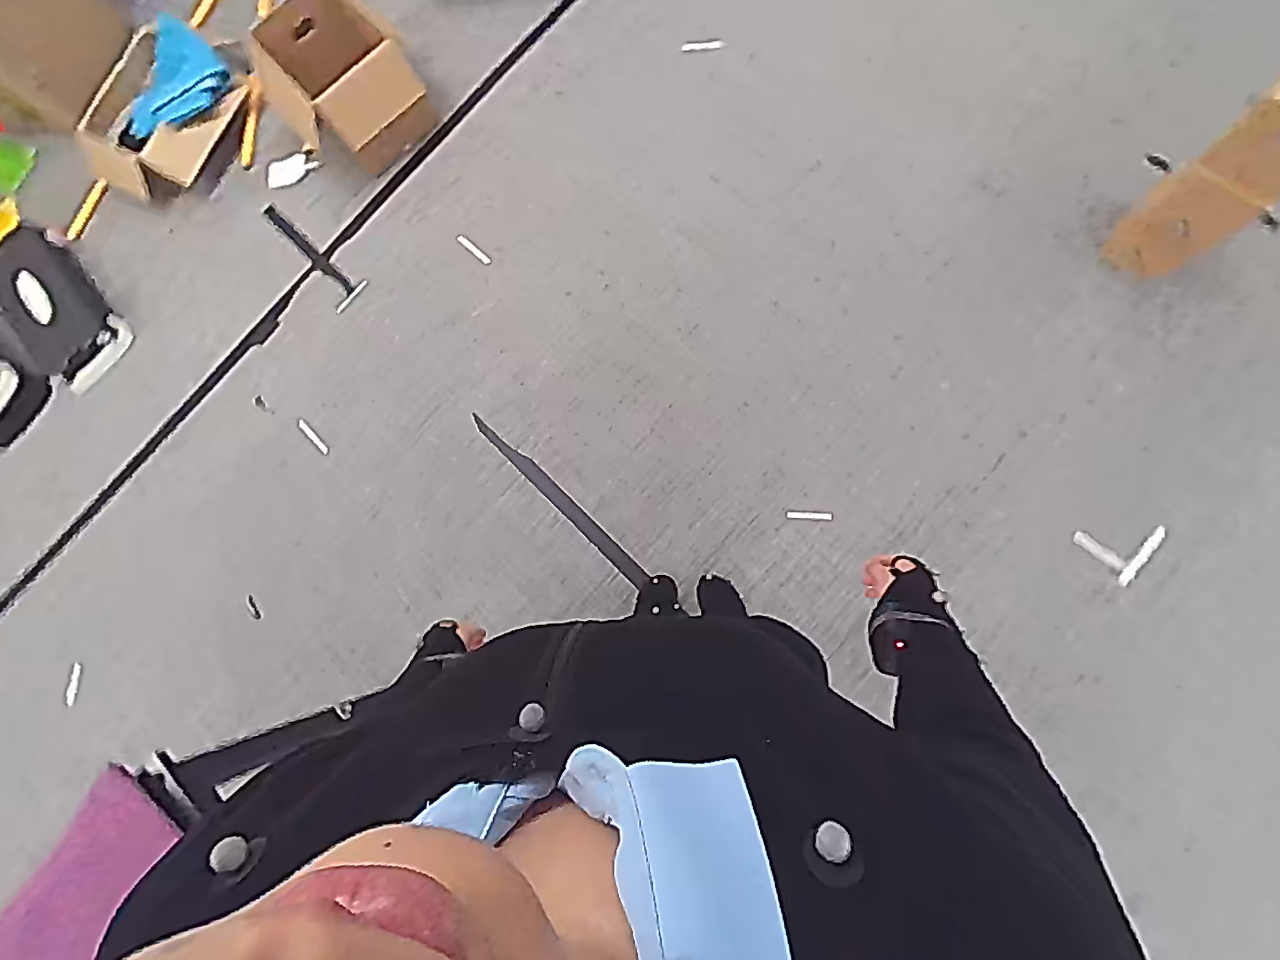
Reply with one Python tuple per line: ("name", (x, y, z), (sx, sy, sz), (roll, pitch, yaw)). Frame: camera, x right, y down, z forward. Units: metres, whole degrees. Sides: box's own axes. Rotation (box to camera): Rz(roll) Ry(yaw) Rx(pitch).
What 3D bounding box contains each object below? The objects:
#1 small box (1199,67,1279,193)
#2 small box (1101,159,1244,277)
("small box", (1.295, -0.715, 1.070), (0.179, 0.176, 0.168), (41, 89, 13))
("small box", (1.353, -0.666, 1.391), (0.168, 0.176, 0.179), (36, 87, 13))
